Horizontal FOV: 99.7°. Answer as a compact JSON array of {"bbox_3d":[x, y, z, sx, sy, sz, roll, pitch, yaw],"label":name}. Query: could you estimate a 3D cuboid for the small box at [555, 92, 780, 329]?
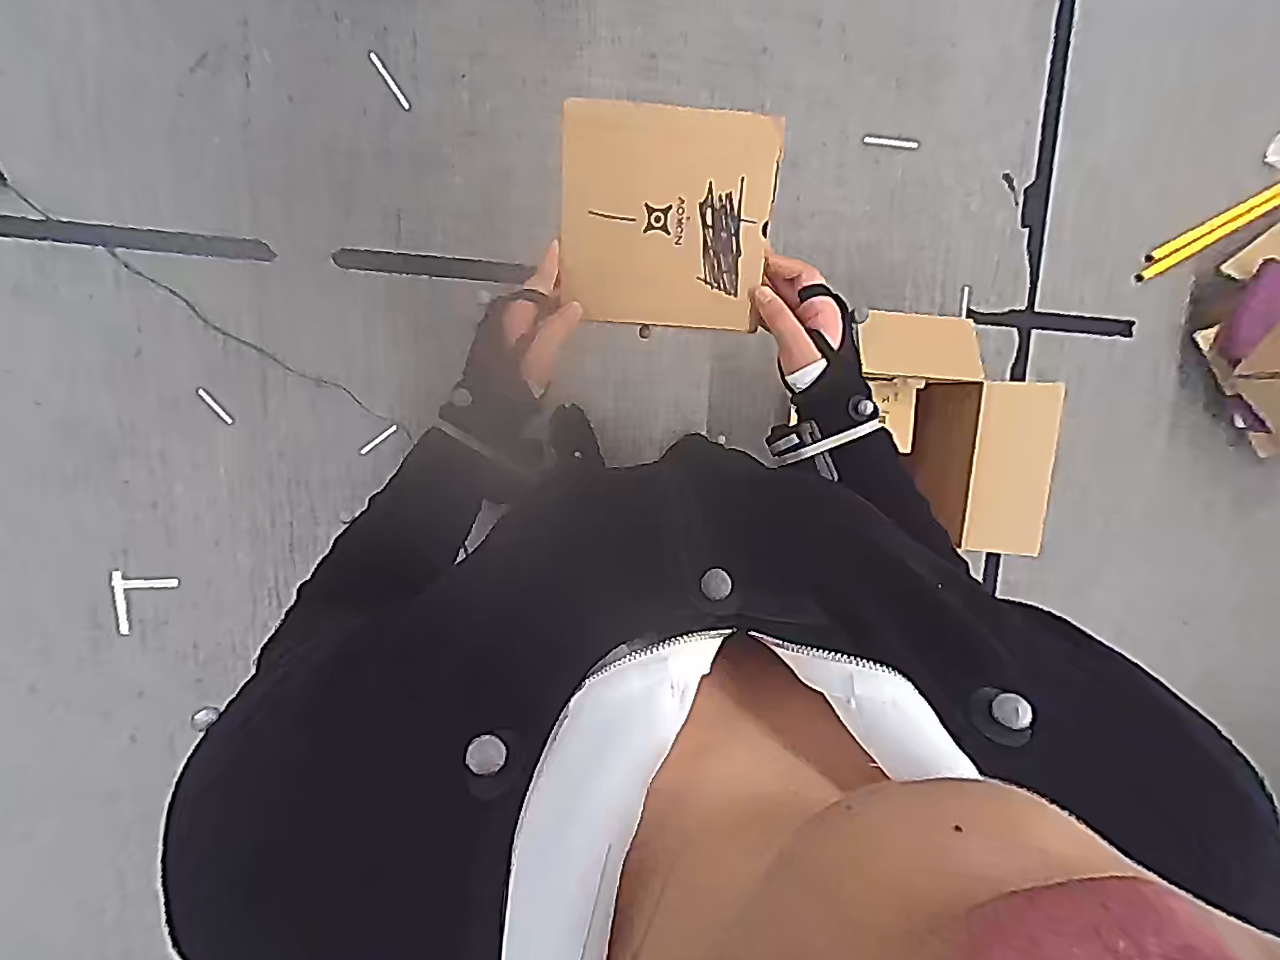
[{"bbox_3d":[0.015,-0.241,0.520,0.179,0.176,0.168,3,108,-3],"label":"small box"}]
